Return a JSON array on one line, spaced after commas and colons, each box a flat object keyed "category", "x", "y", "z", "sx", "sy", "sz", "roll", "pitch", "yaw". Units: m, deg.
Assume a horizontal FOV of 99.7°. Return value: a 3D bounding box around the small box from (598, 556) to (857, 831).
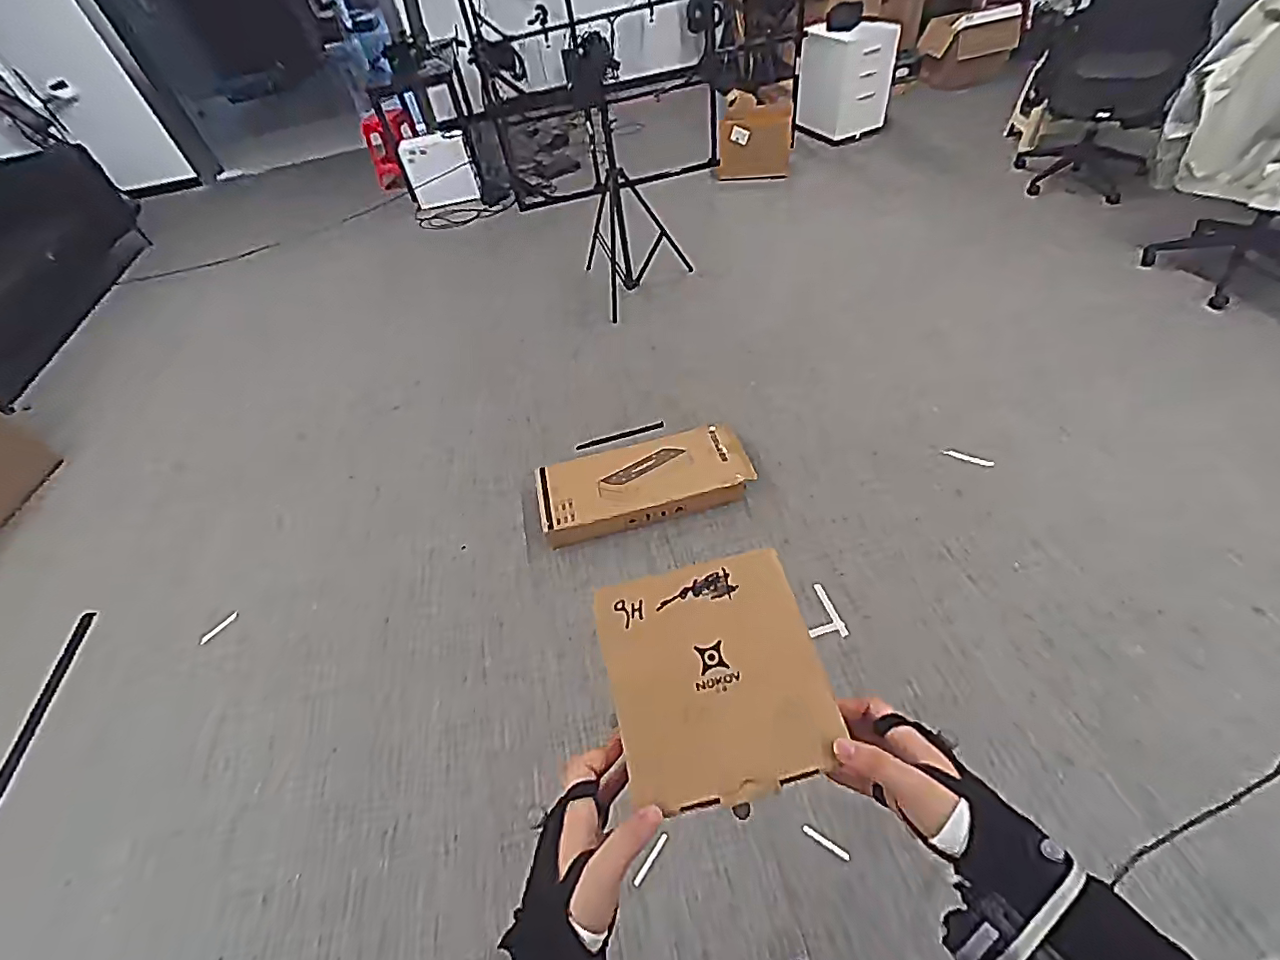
[{"category": "small box", "x": 0.067, "y": 0.195, "z": 0.495, "sx": 0.168, "sy": 0.176, "sz": 0.179, "roll": -13, "pitch": 60, "yaw": -4}]
